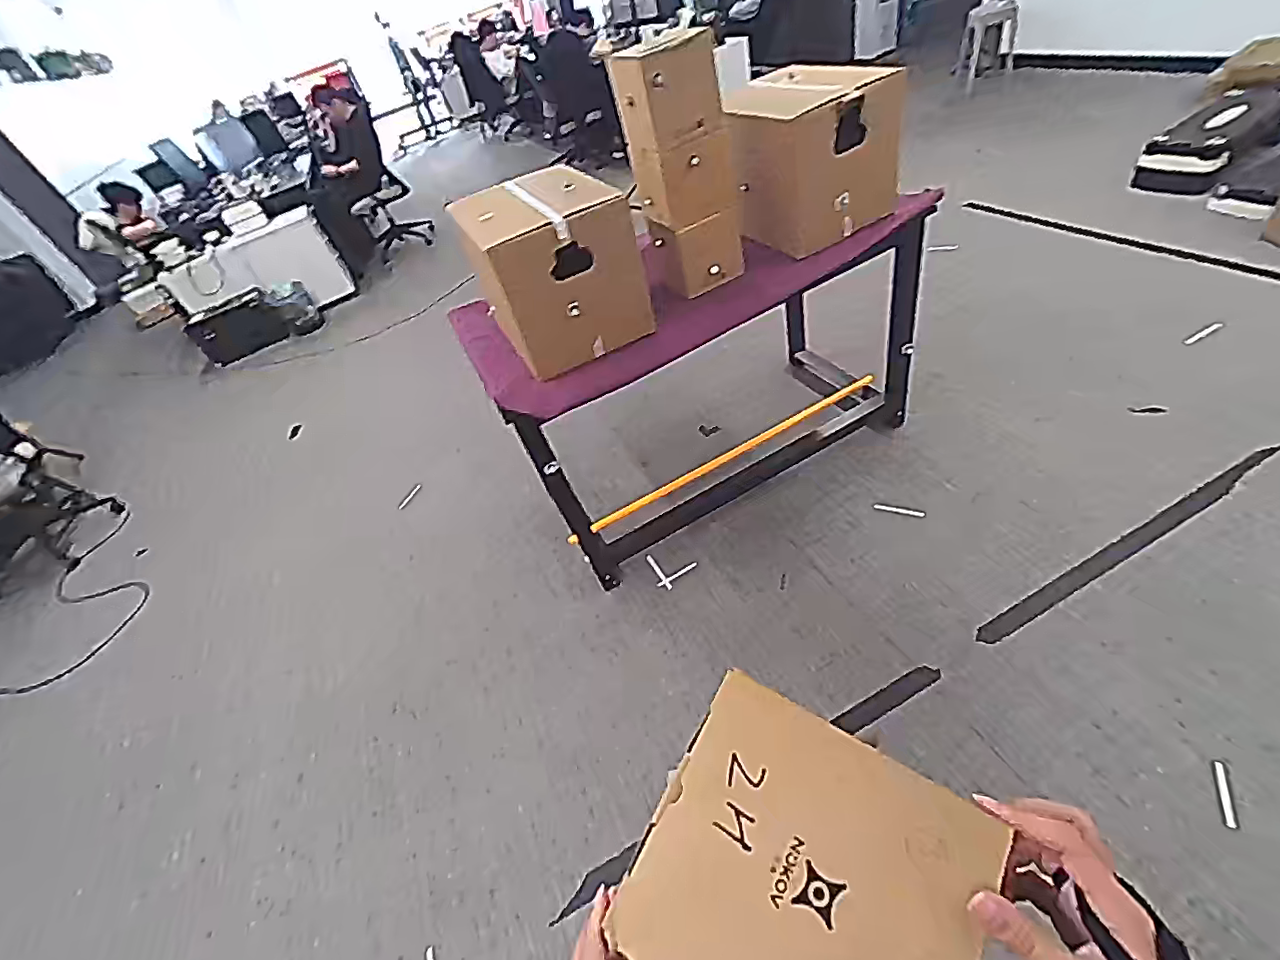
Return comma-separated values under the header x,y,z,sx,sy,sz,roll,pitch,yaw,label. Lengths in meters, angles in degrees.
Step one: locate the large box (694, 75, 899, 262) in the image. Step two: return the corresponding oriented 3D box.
x,y,z,sx,sy,sz,roll,pitch,yaw,label
0.399,-0.815,1.405,0.320,0.320,0.408,-28,43,-9,large box
